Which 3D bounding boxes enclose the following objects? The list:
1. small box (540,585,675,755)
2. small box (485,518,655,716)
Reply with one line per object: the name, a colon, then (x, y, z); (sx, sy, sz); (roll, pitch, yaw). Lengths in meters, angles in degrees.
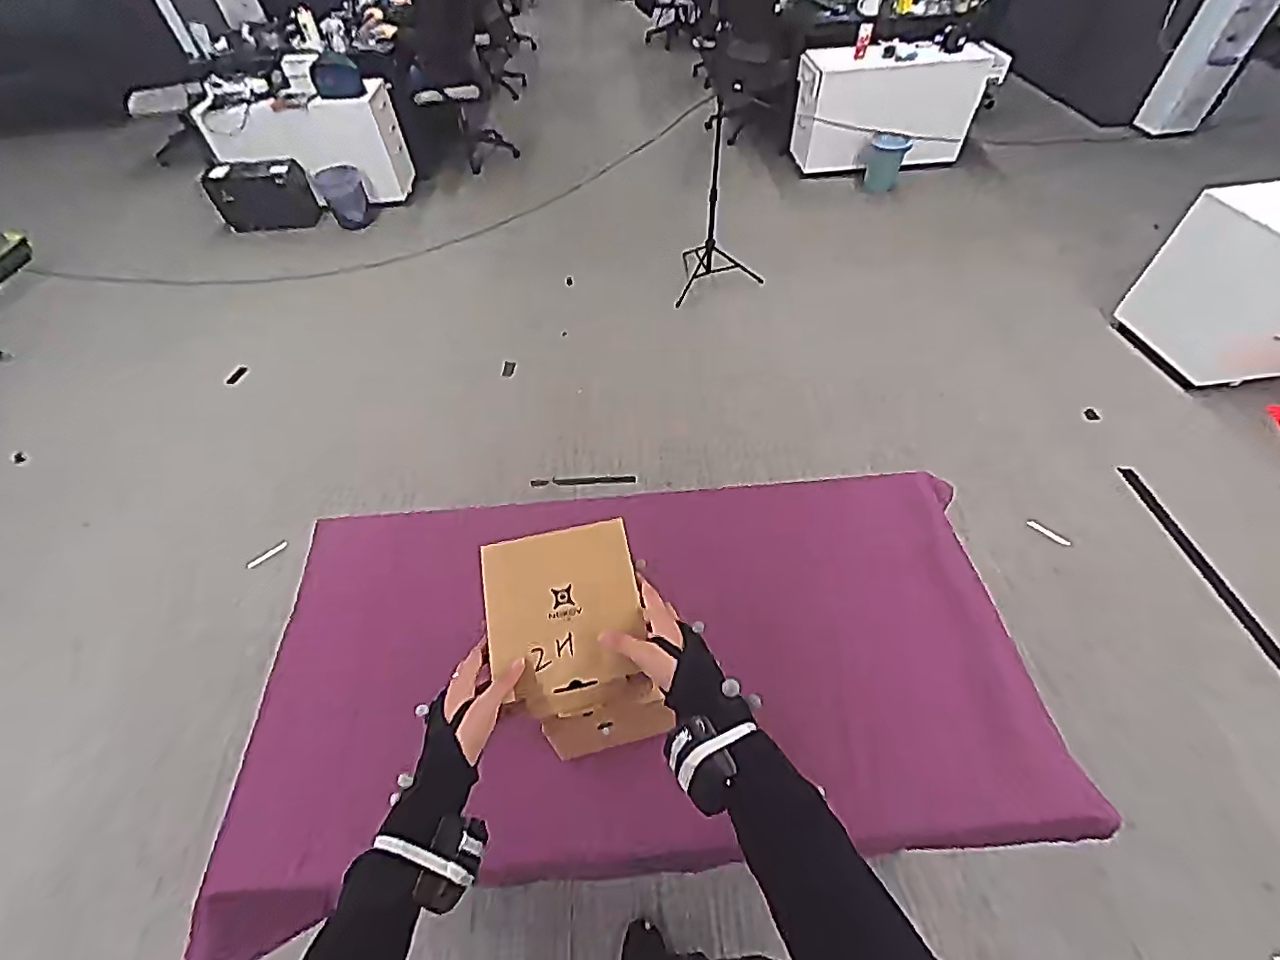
small box: (-0.052, 0.281, 0.789); (0.179, 0.176, 0.168); (-12, 52, -7)
small box: (-0.081, 0.169, 0.649); (0.168, 0.176, 0.179); (-10, 62, -5)
